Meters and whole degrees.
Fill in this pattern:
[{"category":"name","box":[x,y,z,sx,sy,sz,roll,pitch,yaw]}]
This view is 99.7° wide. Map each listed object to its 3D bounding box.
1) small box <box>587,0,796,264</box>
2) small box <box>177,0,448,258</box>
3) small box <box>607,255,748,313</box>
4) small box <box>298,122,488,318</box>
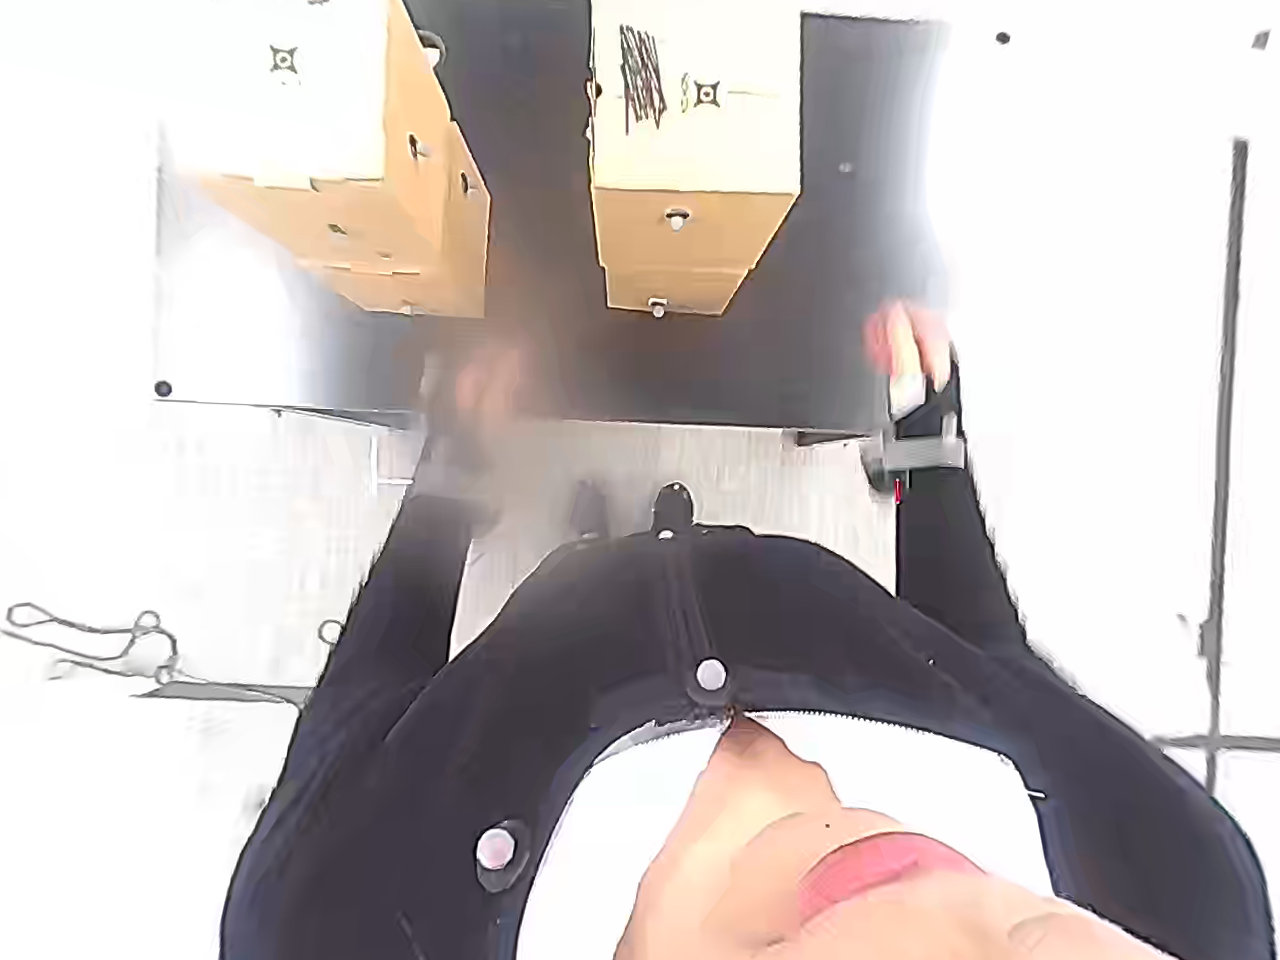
[{"category":"small box","box":[0.042,-0.326,0.531,0.179,0.176,0.168,0,90,-2]},{"category":"small box","box":[-0.291,-0.328,0.517,0.168,0.176,0.179,1,91,-2]},{"category":"small box","box":[0.042,-0.330,0.696,0.168,0.176,0.179,1,91,-1]},{"category":"small box","box":[-0.295,-0.320,0.681,0.168,0.176,0.179,4,91,-2]}]
